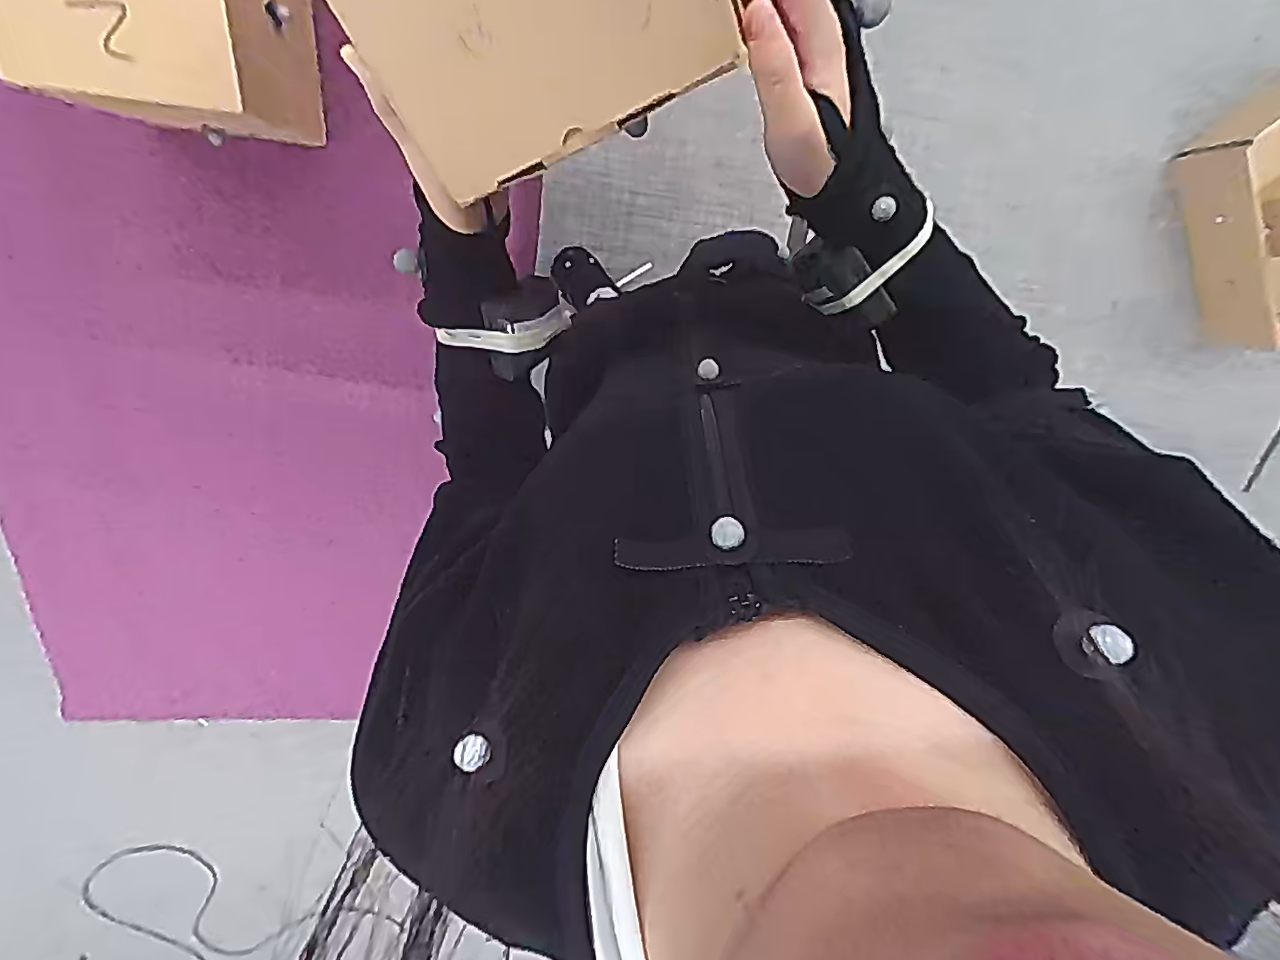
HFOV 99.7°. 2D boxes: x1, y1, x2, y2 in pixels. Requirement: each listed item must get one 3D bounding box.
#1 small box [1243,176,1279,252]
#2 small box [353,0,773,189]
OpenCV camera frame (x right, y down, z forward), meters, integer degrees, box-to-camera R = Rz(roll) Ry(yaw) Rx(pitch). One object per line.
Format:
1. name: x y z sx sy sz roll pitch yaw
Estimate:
1. small box: 1.722 -0.706 1.382 0.179 0.176 0.168 -34 113 6
2. small box: -0.037 -0.283 0.260 0.168 0.176 0.179 -9 131 28
